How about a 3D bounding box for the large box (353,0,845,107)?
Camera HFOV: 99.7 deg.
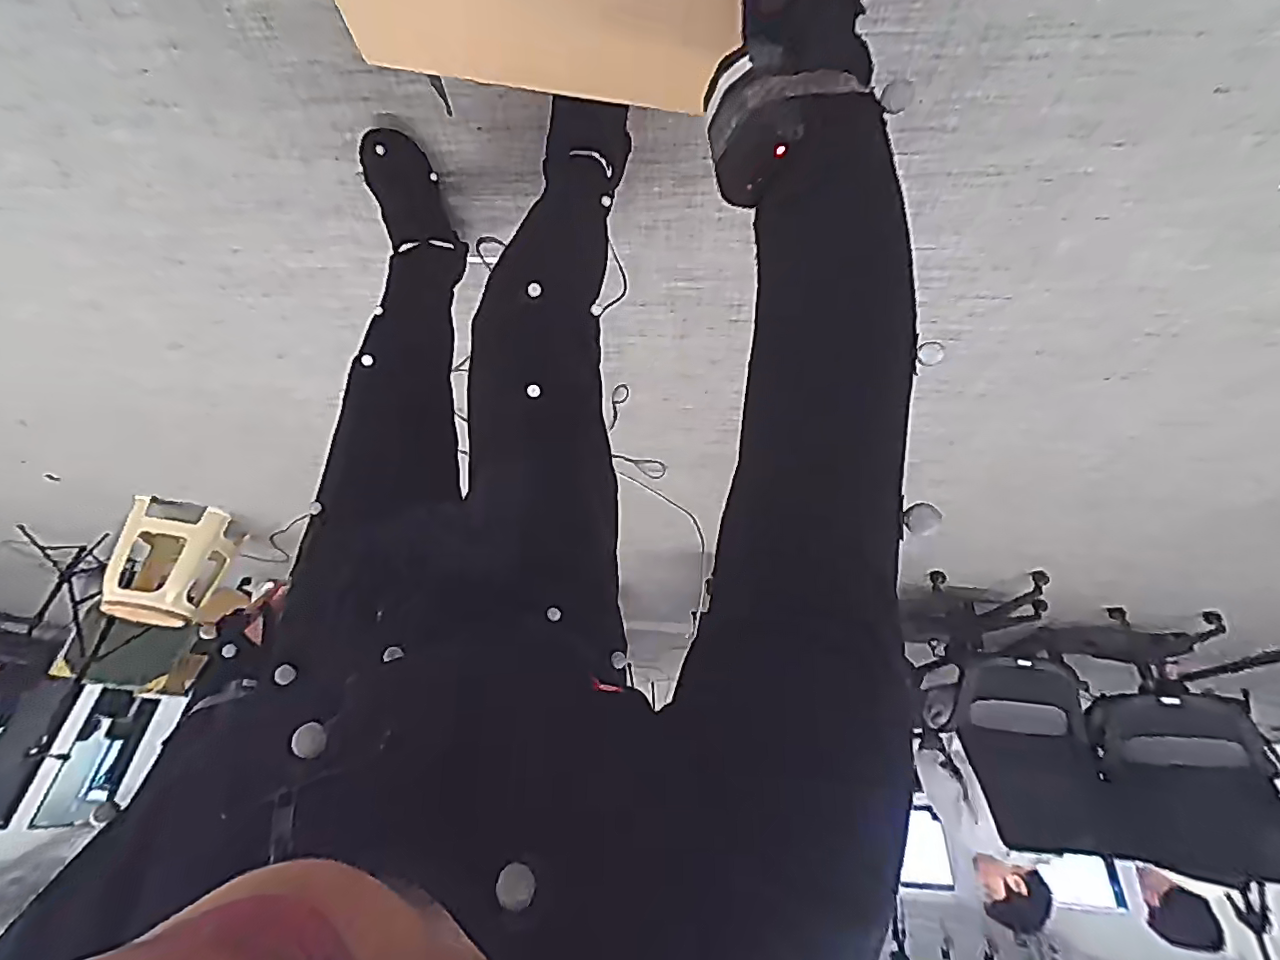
[{"bbox_3d":[-0.023,-0.534,0.386,0.408,0.320,0.320,20,157,15],"label":"large box"}]
